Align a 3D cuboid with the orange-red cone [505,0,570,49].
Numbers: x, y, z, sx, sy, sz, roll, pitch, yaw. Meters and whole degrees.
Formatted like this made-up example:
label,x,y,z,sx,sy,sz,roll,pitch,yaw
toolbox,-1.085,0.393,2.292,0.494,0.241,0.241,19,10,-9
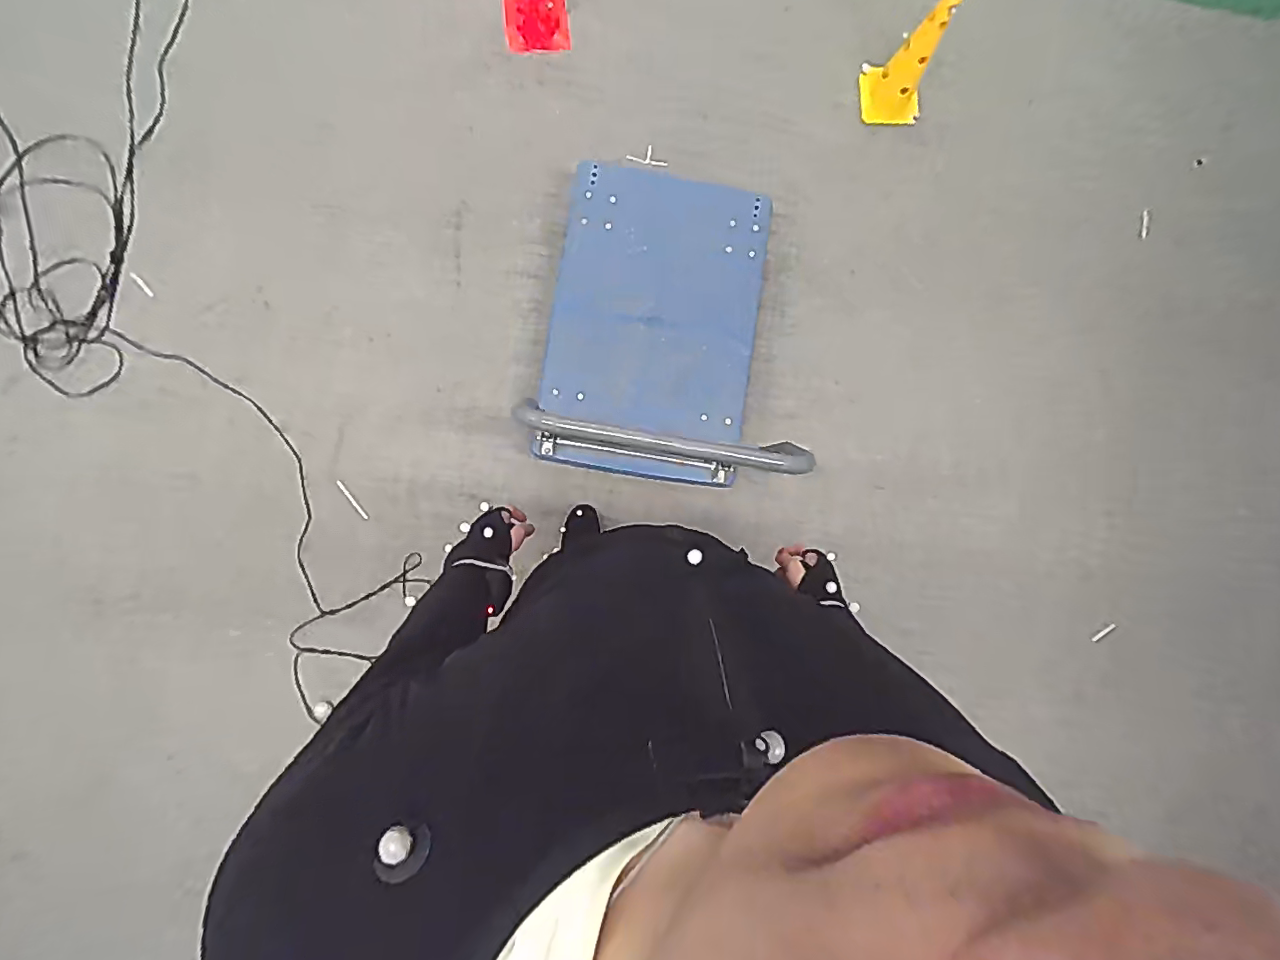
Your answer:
label,x,y,z,sx,sy,sz,roll,pitch,yaw
orange-red cone,-0.318,-1.490,1.561,0.199,0.360,0.198,-6,86,-4
